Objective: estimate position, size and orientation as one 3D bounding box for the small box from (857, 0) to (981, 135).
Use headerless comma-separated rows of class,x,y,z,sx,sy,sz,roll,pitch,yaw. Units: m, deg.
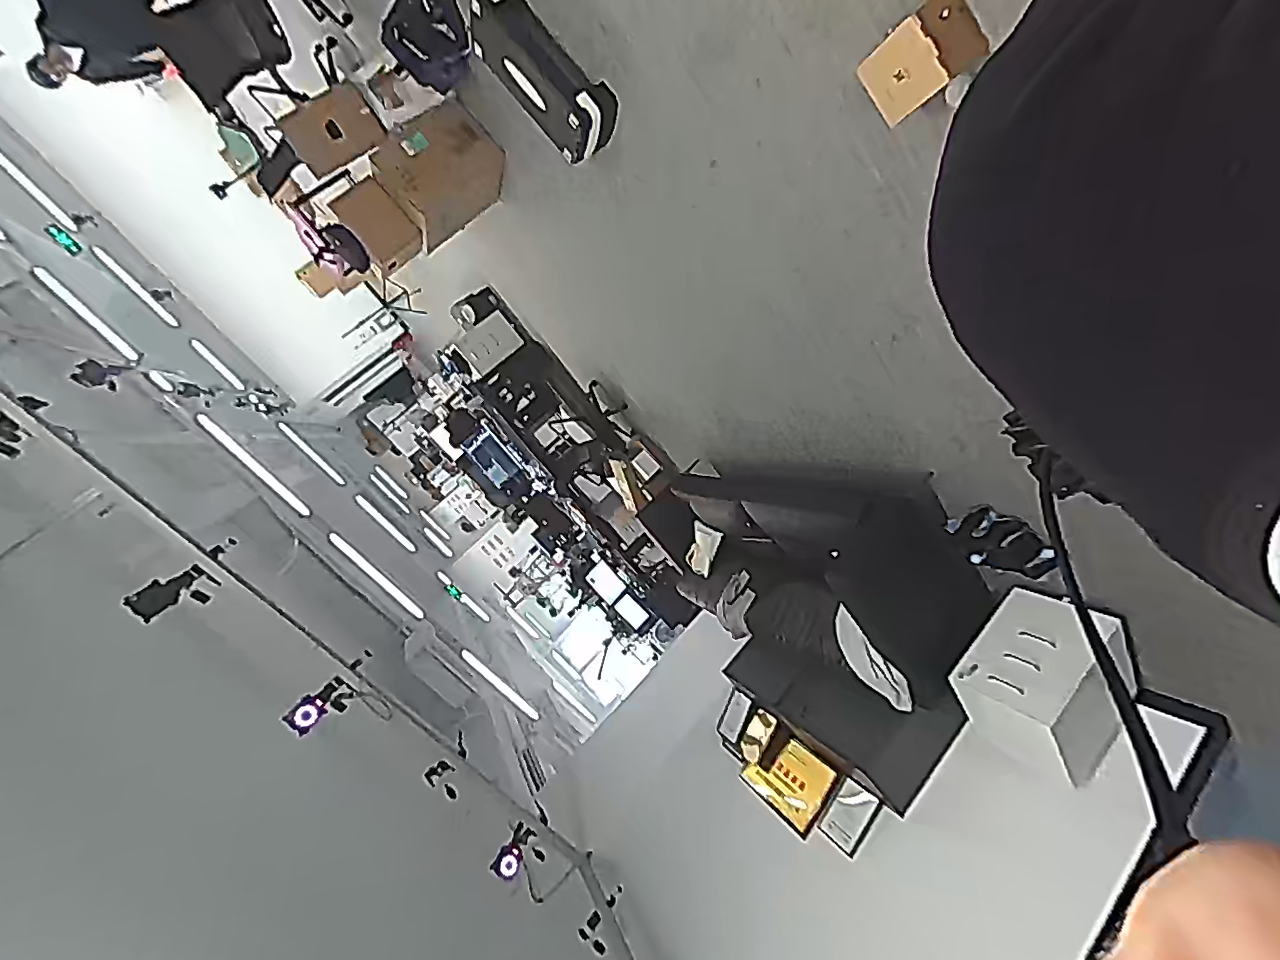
small box,0.666,-0.981,1.280,0.168,0.176,0.179,49,166,-11
